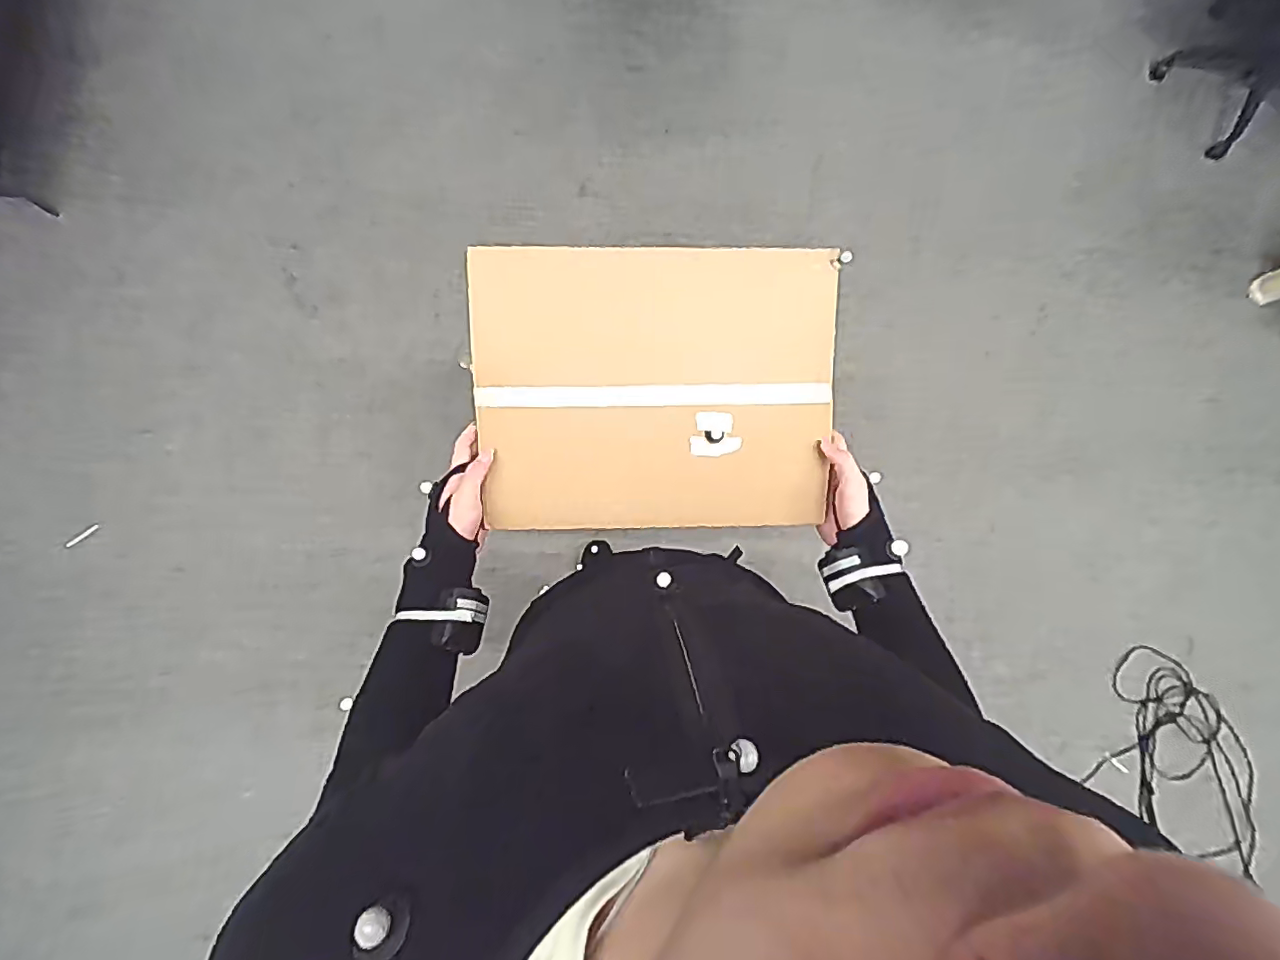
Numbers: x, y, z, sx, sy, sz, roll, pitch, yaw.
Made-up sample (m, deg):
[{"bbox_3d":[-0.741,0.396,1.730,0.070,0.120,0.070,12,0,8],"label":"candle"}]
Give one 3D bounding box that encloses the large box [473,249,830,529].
[{"bbox_3d":[0.010,-0.126,0.766,0.408,0.320,0.320,-2,101,-3],"label":"large box"}]
